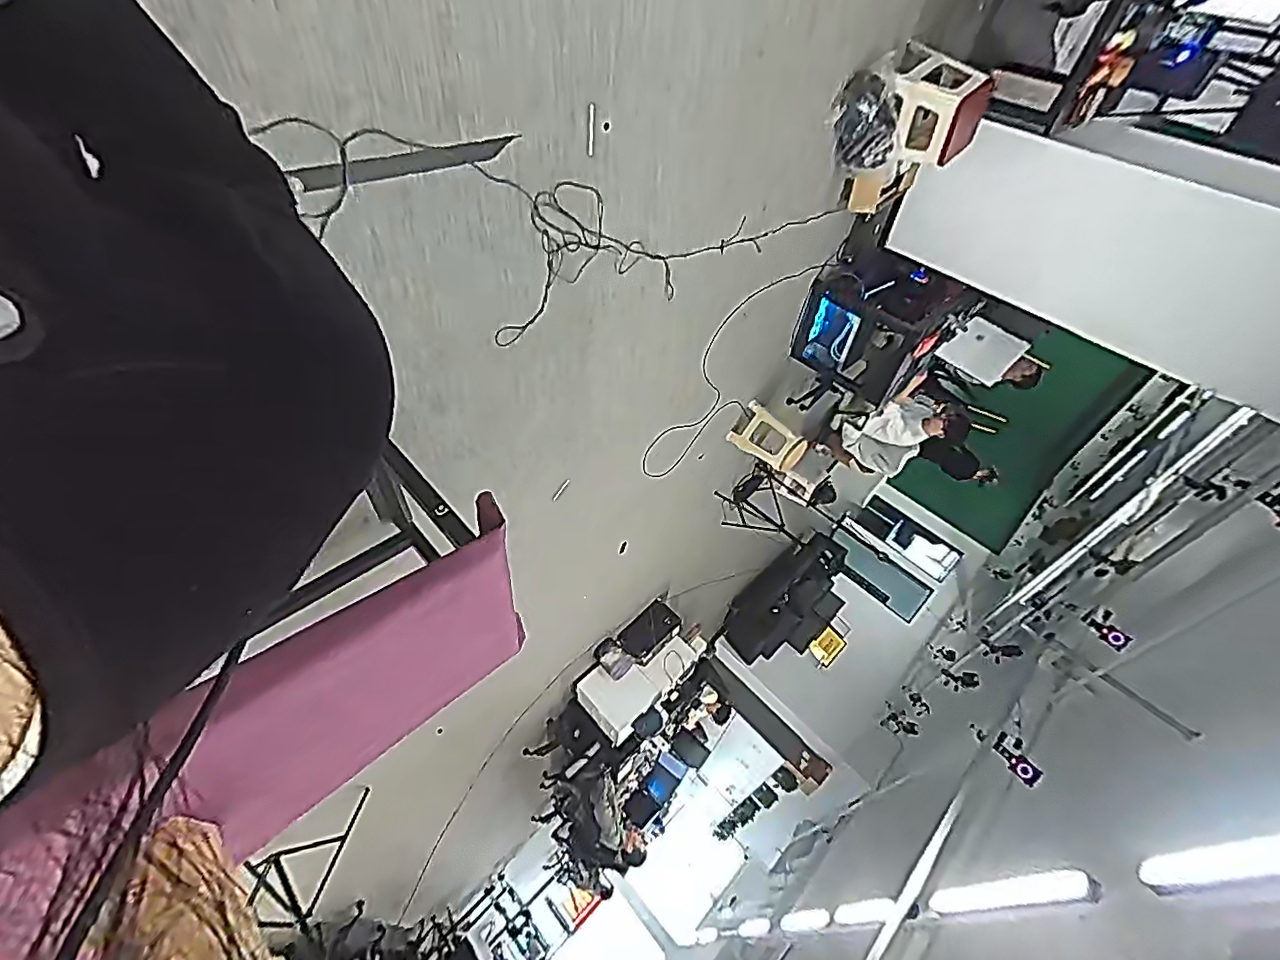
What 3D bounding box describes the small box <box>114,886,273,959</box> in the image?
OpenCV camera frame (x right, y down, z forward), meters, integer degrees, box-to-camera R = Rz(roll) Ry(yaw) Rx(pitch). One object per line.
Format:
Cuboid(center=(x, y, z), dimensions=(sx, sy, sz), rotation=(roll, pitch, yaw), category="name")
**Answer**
Cuboid(center=(-0.833, 0.906, 1.005), dimensions=(0.179, 0.176, 0.168), rotation=(-37, 152, -26), category="small box")
